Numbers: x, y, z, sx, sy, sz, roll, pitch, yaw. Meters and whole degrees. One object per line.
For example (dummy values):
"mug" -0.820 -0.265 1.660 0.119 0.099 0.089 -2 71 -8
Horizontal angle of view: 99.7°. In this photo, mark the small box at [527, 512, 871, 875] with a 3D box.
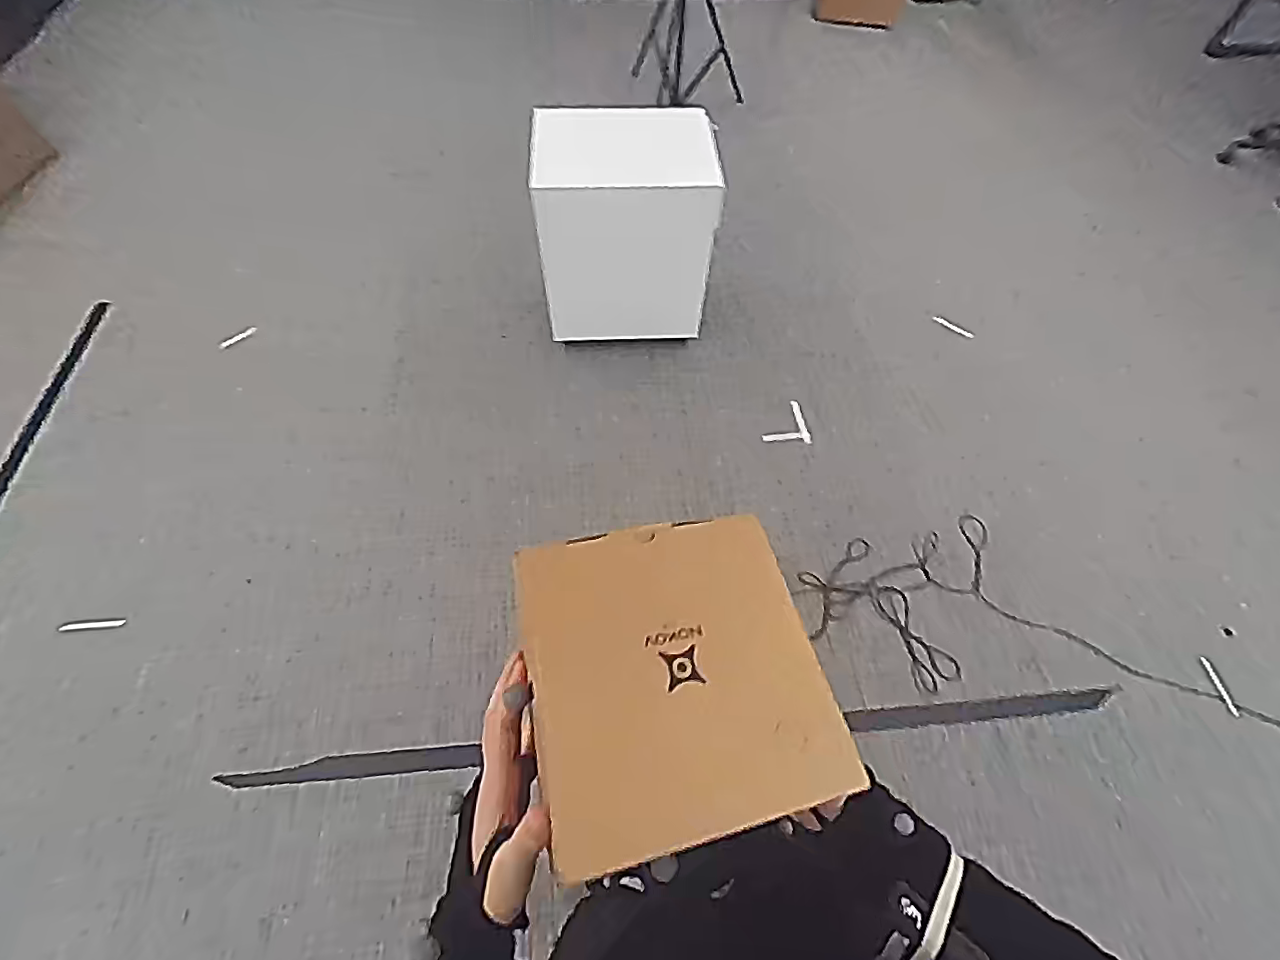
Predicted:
"small box" 0.016 0.147 0.376 0.168 0.176 0.179 -6 56 -15
